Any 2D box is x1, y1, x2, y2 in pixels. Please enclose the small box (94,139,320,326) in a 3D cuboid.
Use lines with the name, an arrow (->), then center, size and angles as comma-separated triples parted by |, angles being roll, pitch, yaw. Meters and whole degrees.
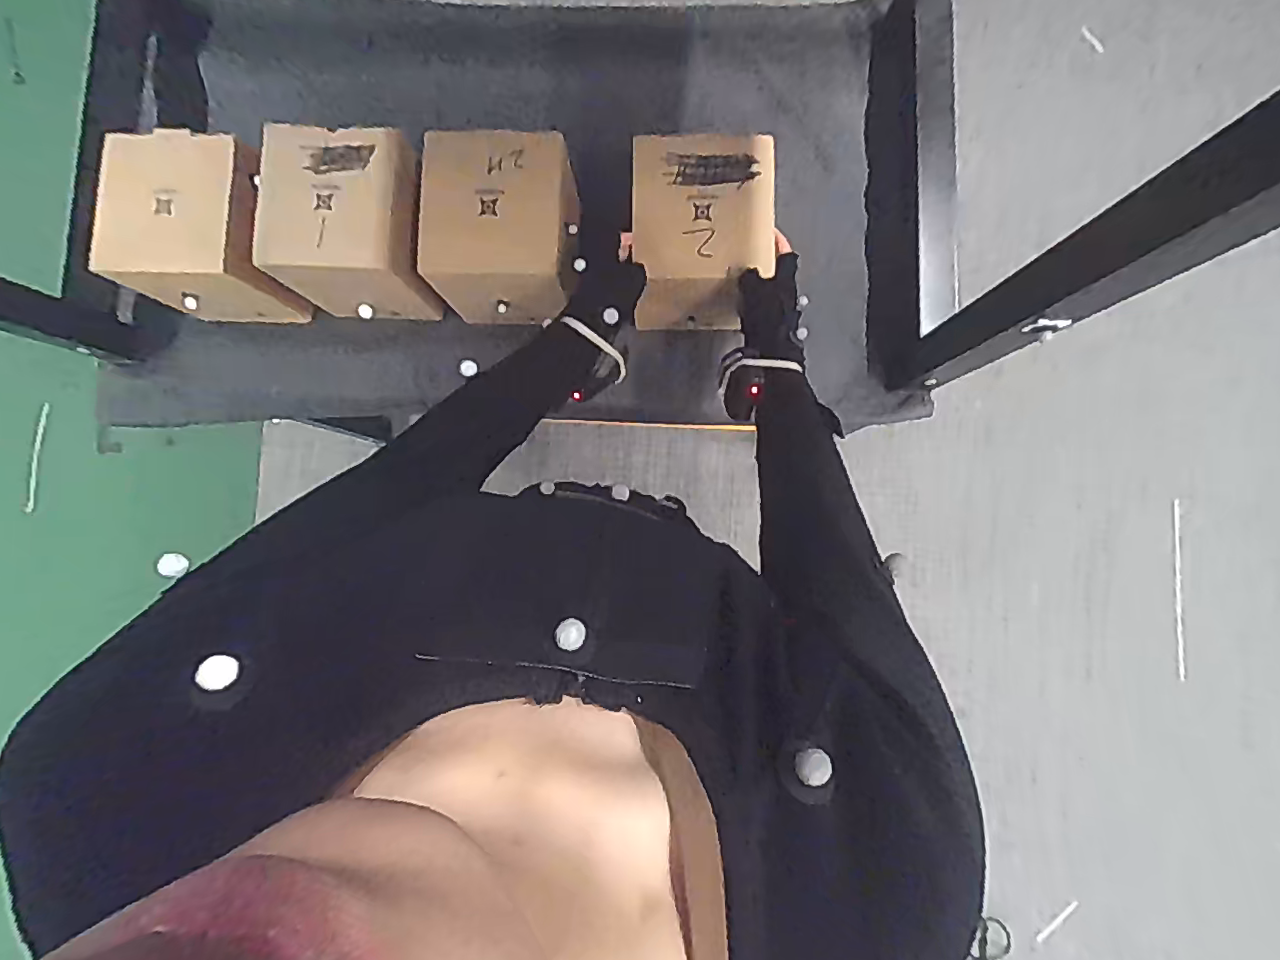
small box -> -0.561, -0.317, 0.724 | 0.168, 0.176, 0.179 | 2, 84, 1
